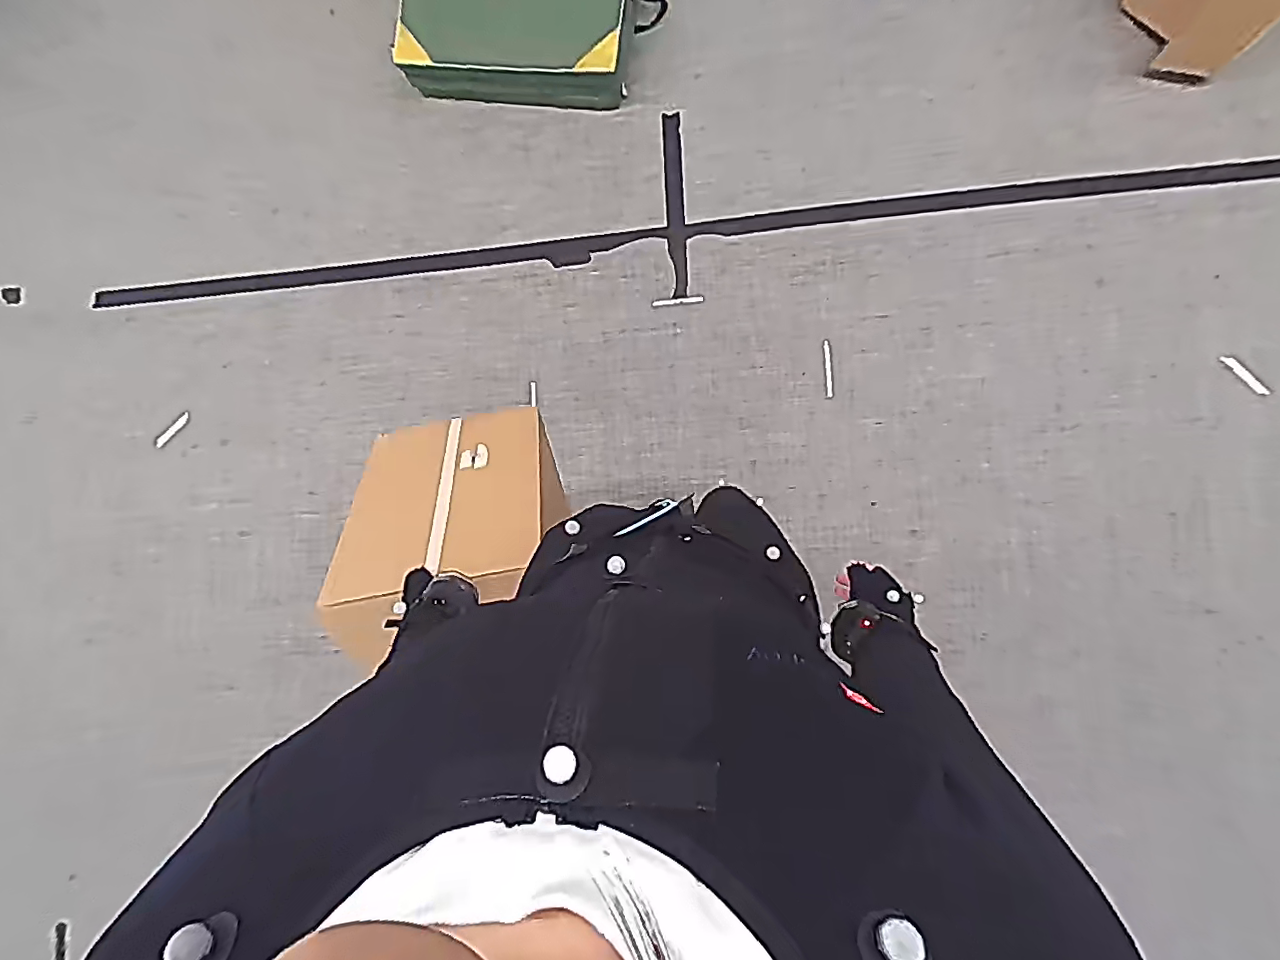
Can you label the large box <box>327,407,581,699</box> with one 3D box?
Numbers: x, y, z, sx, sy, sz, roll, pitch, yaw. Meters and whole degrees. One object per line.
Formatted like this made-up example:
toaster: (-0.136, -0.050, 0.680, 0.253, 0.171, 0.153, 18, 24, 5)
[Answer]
large box: (-0.299, 0.123, 1.000, 0.320, 0.408, 0.320, -10, 132, -2)
